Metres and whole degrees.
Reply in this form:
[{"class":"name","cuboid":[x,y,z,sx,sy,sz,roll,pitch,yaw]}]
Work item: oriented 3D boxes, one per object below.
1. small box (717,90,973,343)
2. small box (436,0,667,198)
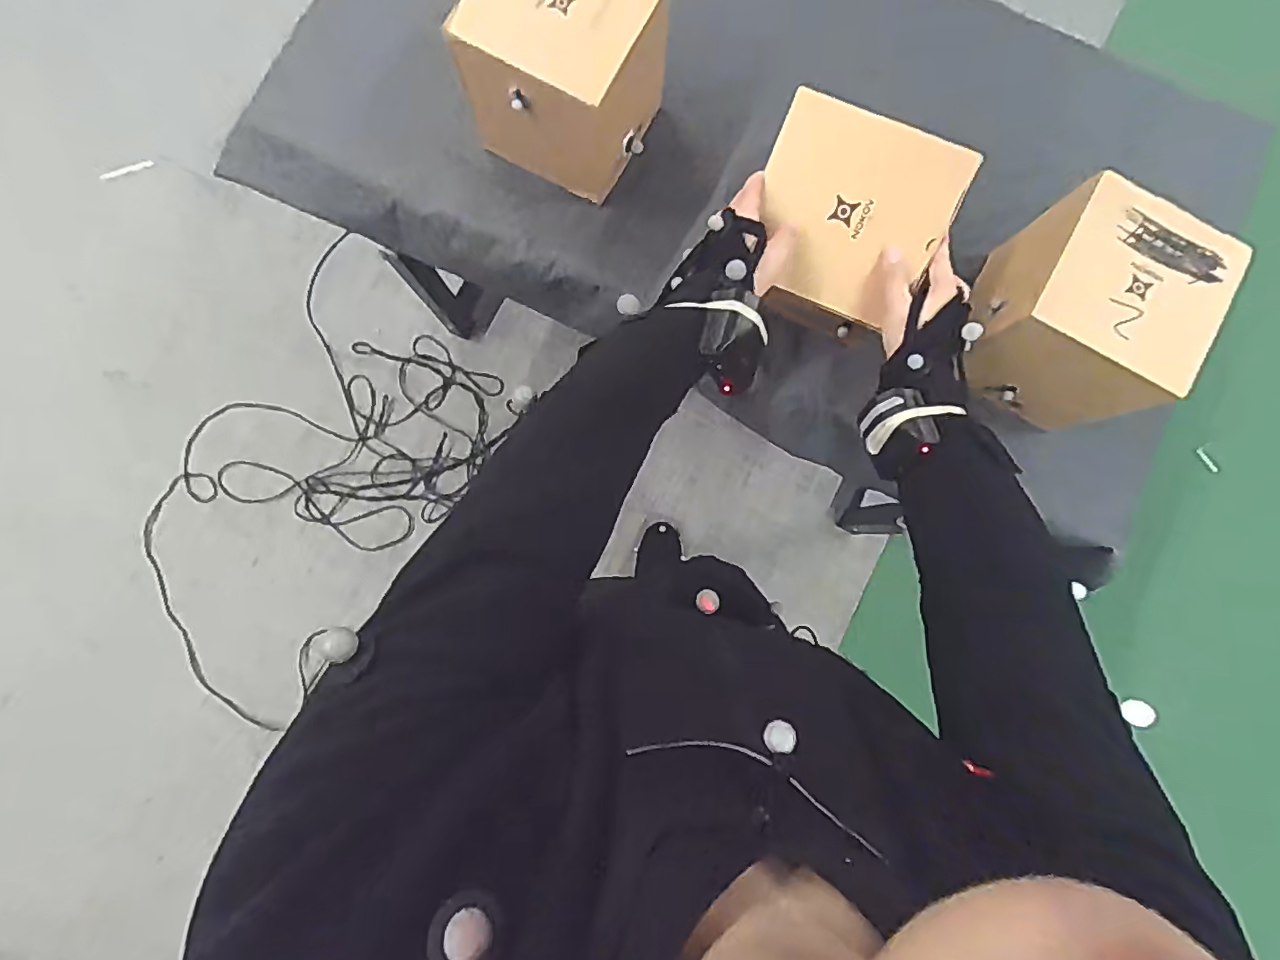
[{"class":"small box","cuboid":[0.191,-0.253,0.568,0.179,0.176,0.168,24,102,2]},{"class":"small box","cuboid":[-0.088,-0.459,0.606,0.179,0.176,0.168,28,84,0]}]
